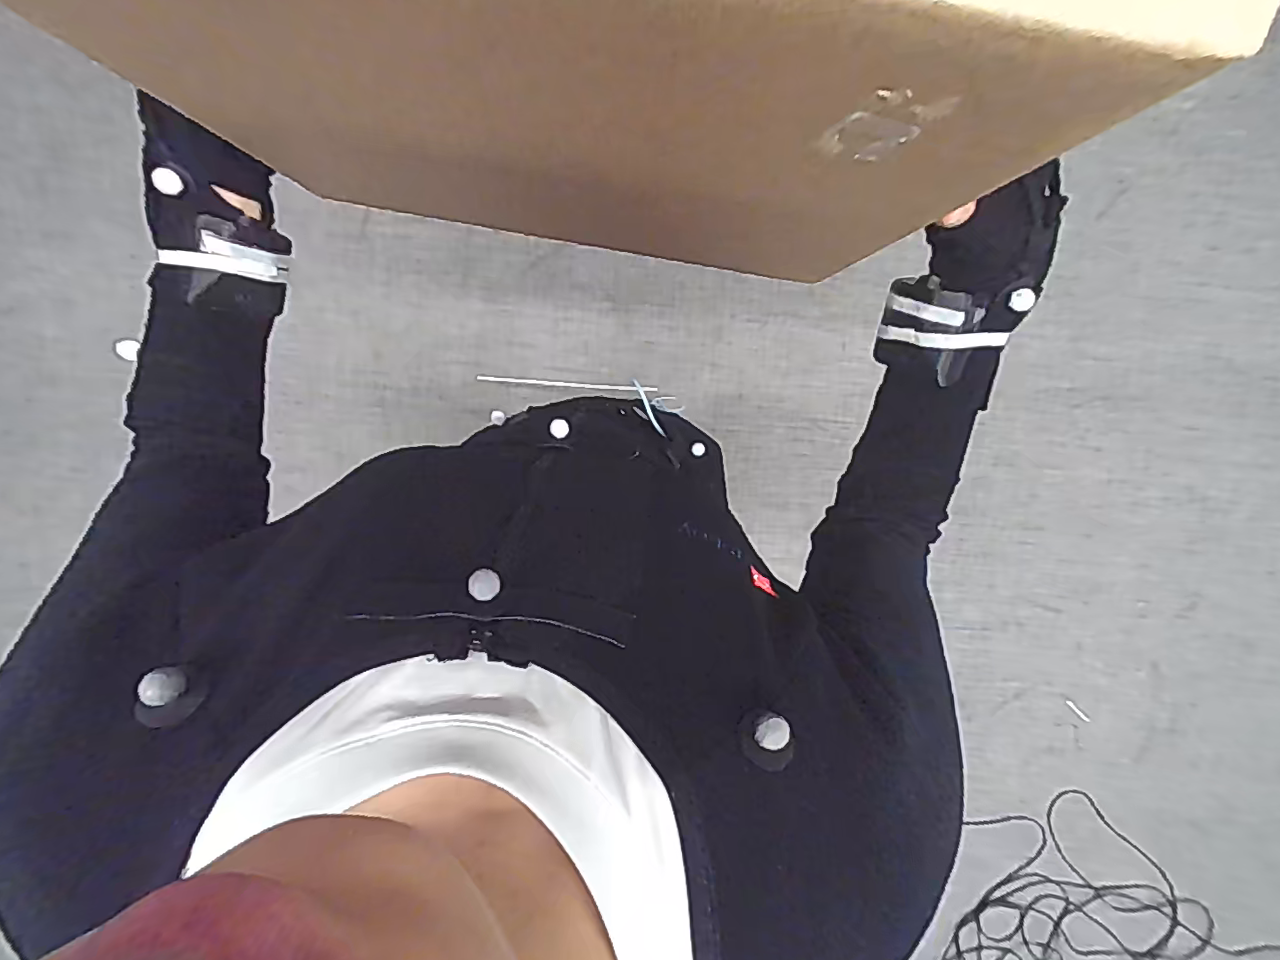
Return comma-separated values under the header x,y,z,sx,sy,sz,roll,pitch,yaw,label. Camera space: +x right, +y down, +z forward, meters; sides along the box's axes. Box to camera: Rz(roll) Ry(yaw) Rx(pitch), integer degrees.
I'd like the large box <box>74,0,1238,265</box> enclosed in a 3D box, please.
x,y,z,sx,sy,sz,roll,pitch,yaw,label
-0.017,-0.321,0.258,0.408,0.320,0.320,9,101,-4,large box
